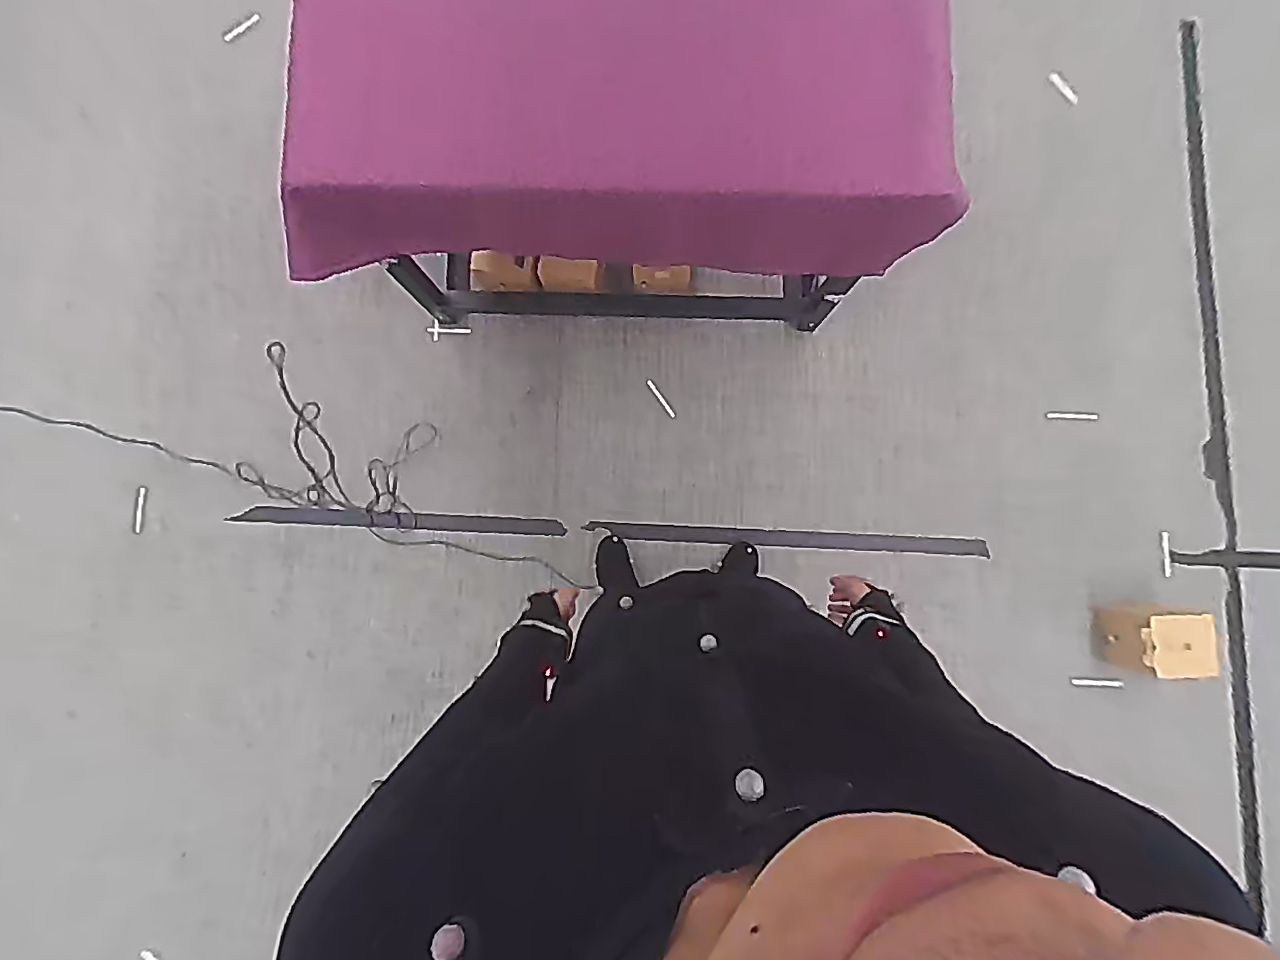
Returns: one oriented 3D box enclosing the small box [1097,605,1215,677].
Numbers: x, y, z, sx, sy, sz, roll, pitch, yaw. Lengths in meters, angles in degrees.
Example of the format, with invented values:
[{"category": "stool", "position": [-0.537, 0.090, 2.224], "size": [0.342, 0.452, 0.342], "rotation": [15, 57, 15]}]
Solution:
[{"category": "small box", "position": [1.455, 0.451, 1.533], "size": [0.179, 0.176, 0.168], "rotation": [-2, 85, 1]}]
